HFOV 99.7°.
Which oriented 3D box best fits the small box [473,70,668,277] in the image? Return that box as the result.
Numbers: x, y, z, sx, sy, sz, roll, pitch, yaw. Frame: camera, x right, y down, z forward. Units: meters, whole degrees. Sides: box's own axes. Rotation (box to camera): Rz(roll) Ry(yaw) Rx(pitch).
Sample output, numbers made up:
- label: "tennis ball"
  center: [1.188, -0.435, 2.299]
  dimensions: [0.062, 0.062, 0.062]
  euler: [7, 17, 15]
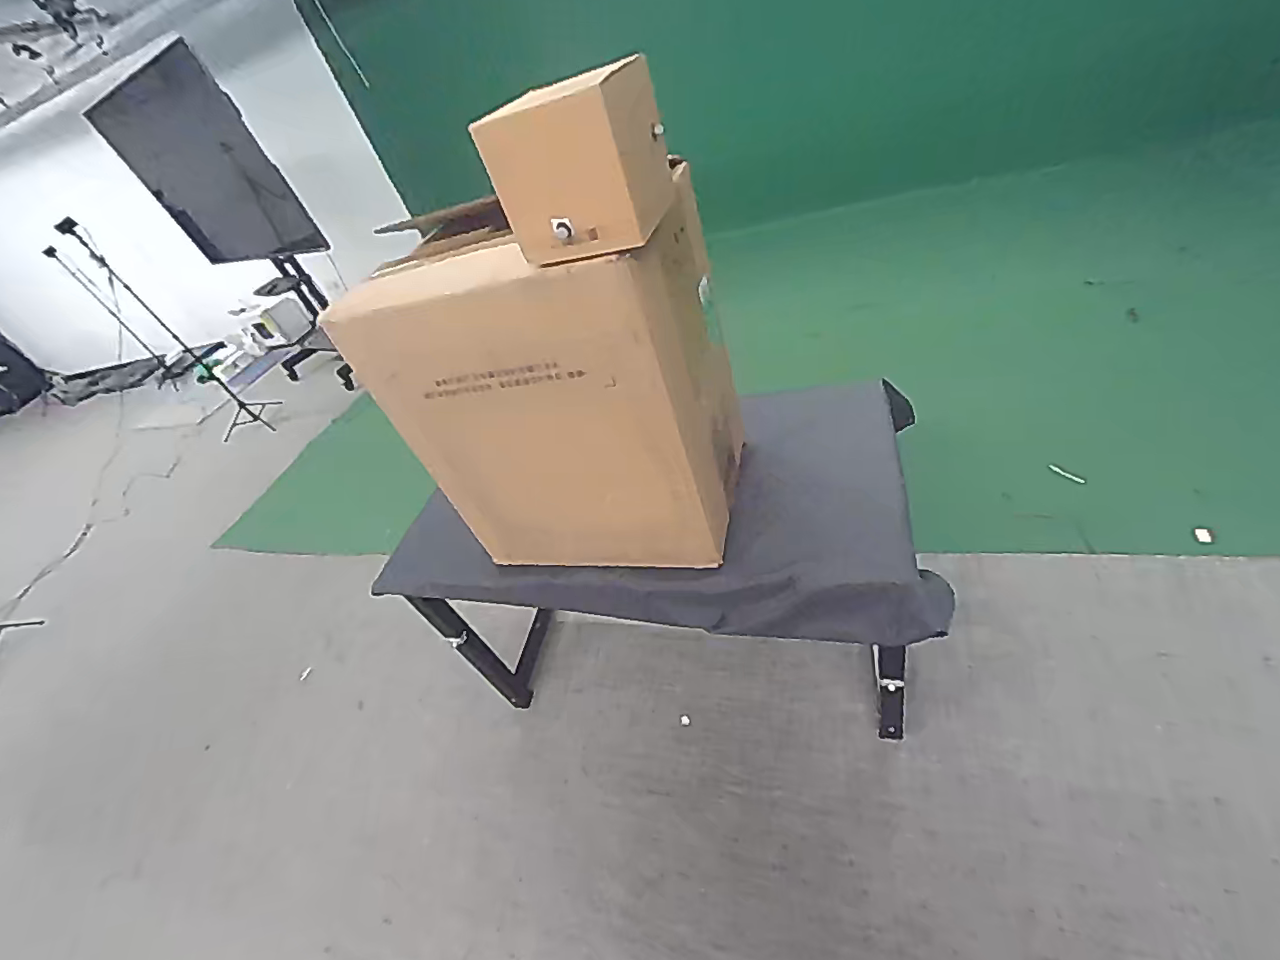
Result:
- label: "small box"
  center: [-0.072, -0.383, 0.688]
  dimensions: [0.168, 0.176, 0.179]
  euler: [-3, 44, 22]
